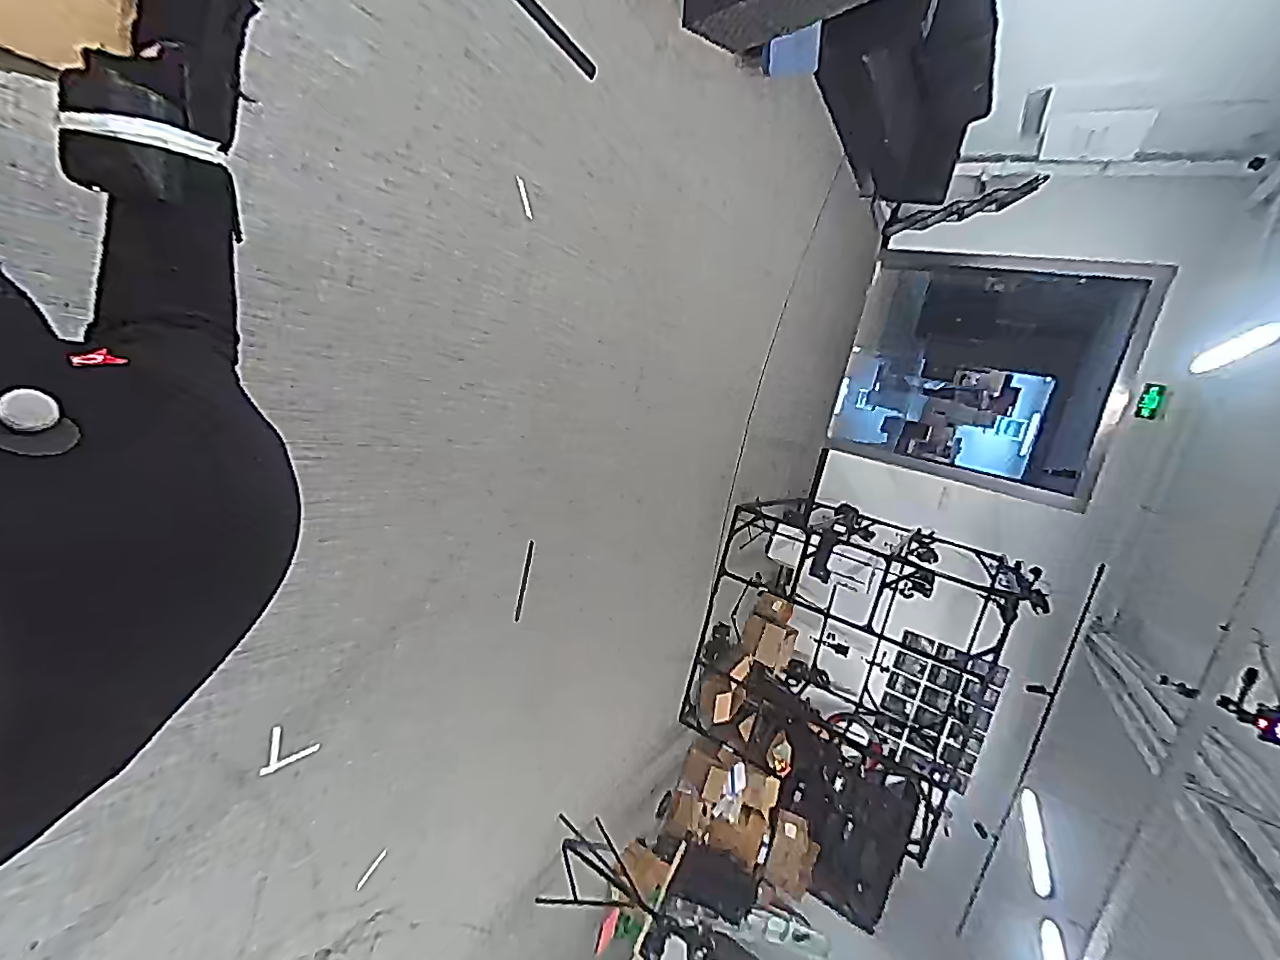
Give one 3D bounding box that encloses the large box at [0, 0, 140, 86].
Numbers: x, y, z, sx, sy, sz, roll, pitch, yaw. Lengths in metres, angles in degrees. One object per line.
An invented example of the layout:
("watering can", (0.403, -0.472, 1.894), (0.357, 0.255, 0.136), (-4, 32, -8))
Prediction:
("large box", (-0.509, -0.439, 0.210), (0.408, 0.320, 0.320), (-8, 121, -61))
